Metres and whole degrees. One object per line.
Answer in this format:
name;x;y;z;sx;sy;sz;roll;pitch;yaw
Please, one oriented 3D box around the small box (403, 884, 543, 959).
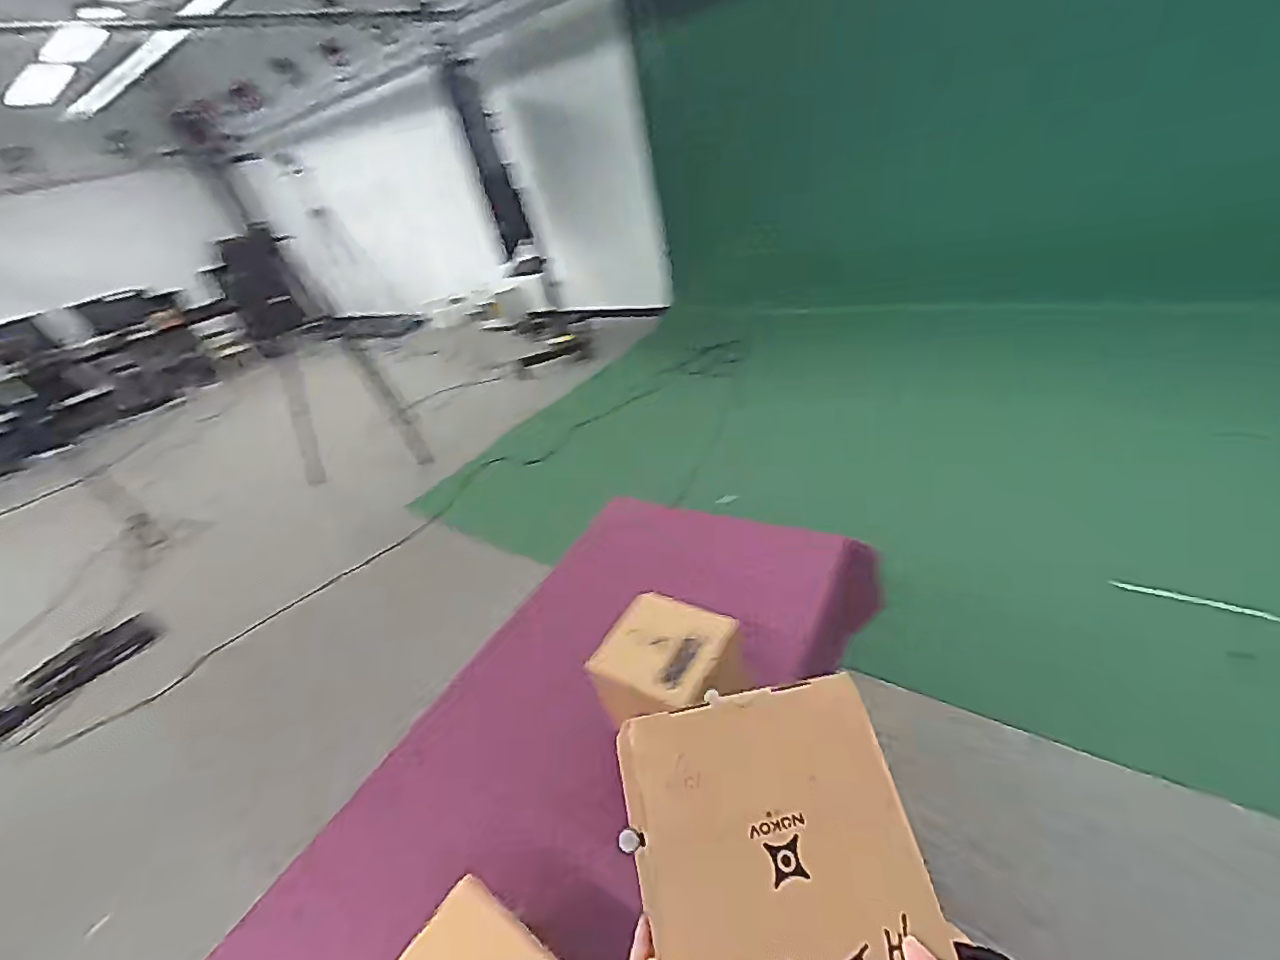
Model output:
small box;-0.163;0.583;0.561;0.179;0.176;0.168;12;42;35
